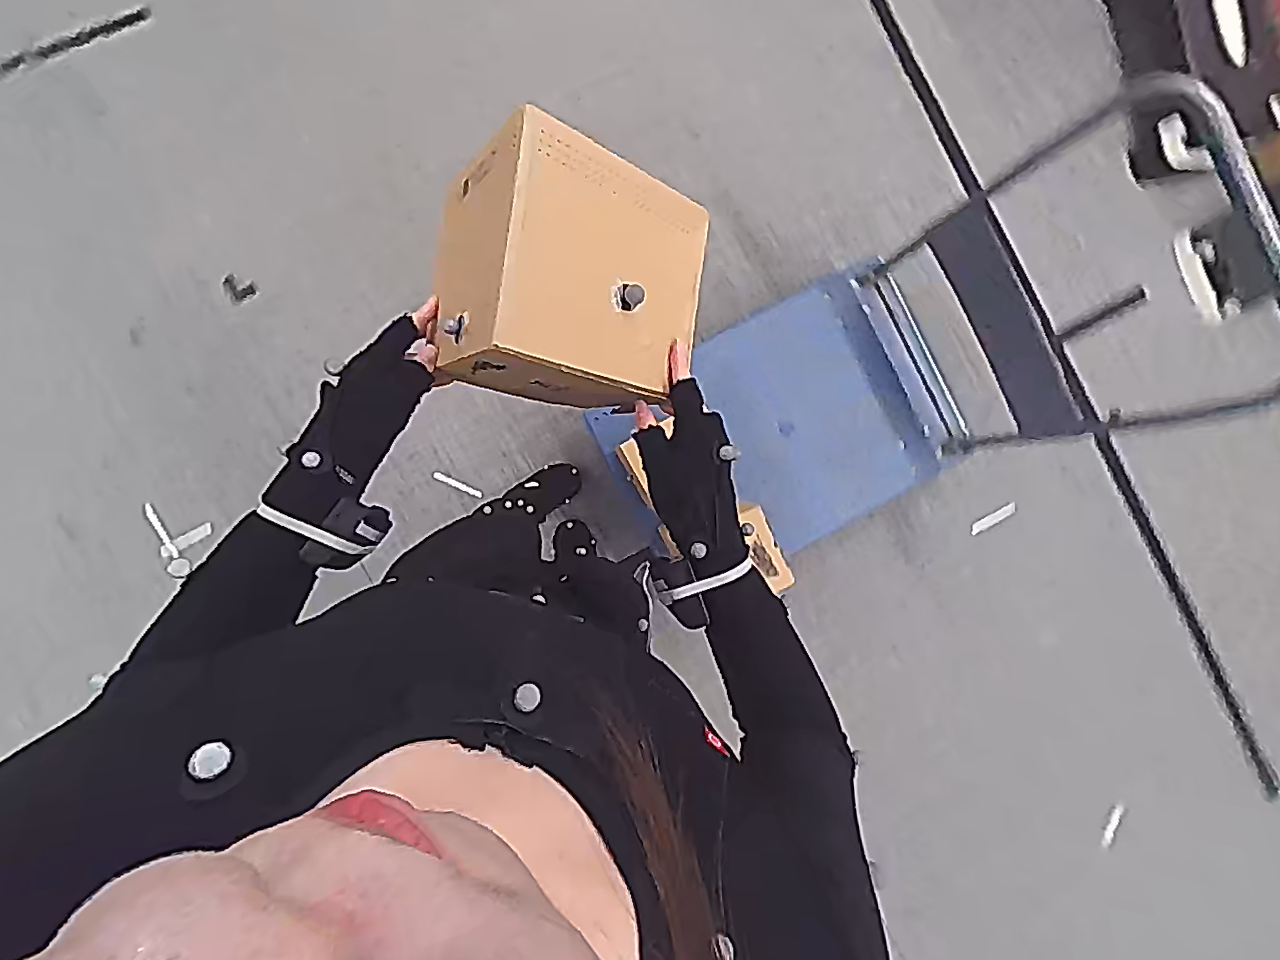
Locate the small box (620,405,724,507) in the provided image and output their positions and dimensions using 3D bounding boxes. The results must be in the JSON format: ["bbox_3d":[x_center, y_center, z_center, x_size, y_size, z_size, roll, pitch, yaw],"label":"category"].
[{"bbox_3d":[0.064,-0.052,1.244,0.179,0.176,0.168,-29,94,-5],"label":"small box"}]

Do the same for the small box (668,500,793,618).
[{"bbox_3d":[0.174,0.149,1.092,0.179,0.176,0.168,-26,93,-4],"label":"small box"}]

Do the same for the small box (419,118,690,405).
[{"bbox_3d":[-0.073,-0.165,0.471,0.179,0.168,0.176,6,89,-38],"label":"small box"}]
